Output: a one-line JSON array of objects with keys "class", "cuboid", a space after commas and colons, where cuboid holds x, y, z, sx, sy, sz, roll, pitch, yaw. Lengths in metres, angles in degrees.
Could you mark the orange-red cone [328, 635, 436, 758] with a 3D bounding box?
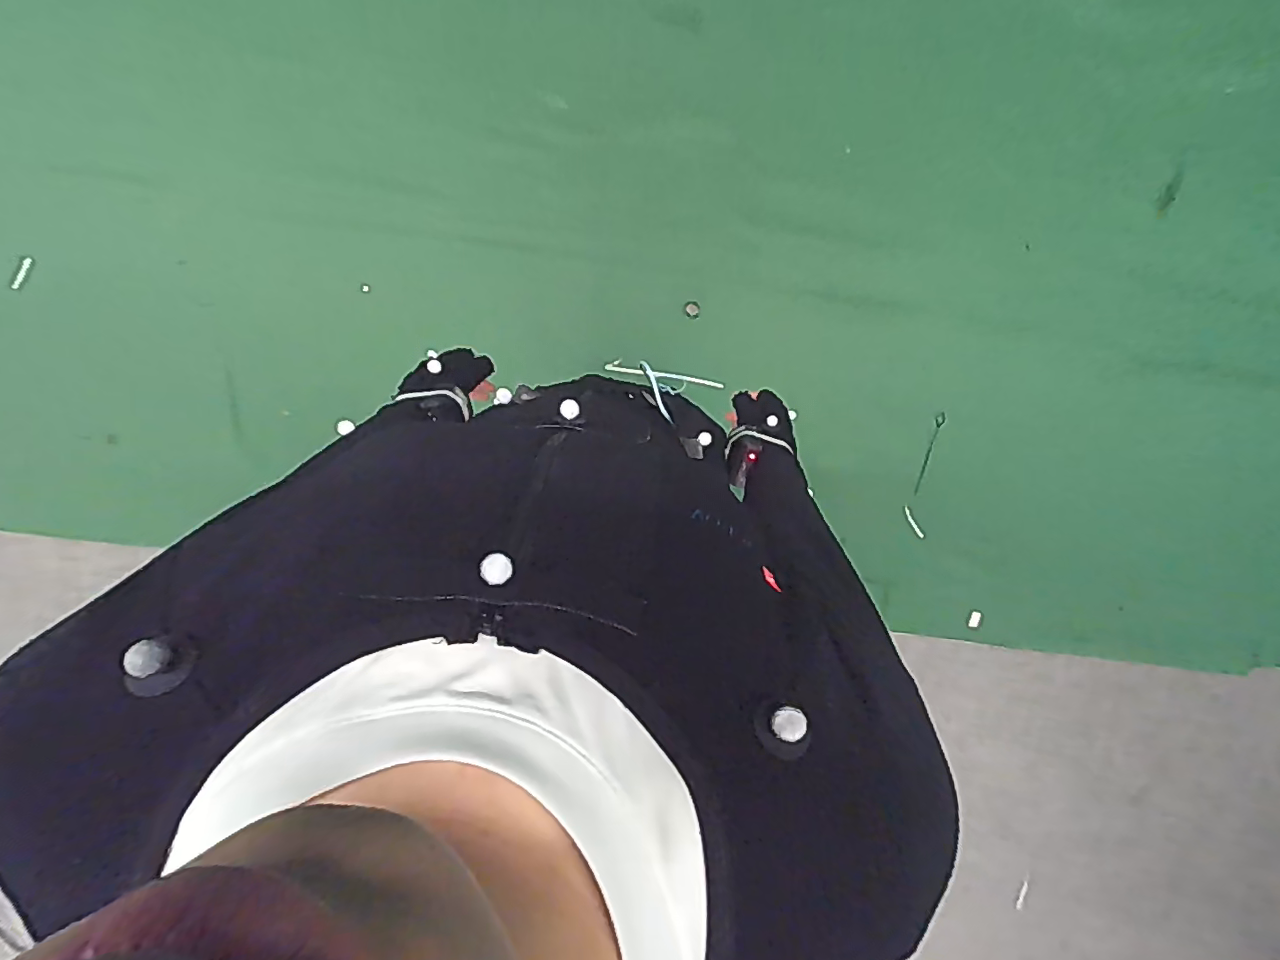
[{"class": "orange-red cone", "cuboid": [-0.694, 0.587, 1.404, 0.198, 0.360, 0.199, 8, 102, -2]}]
